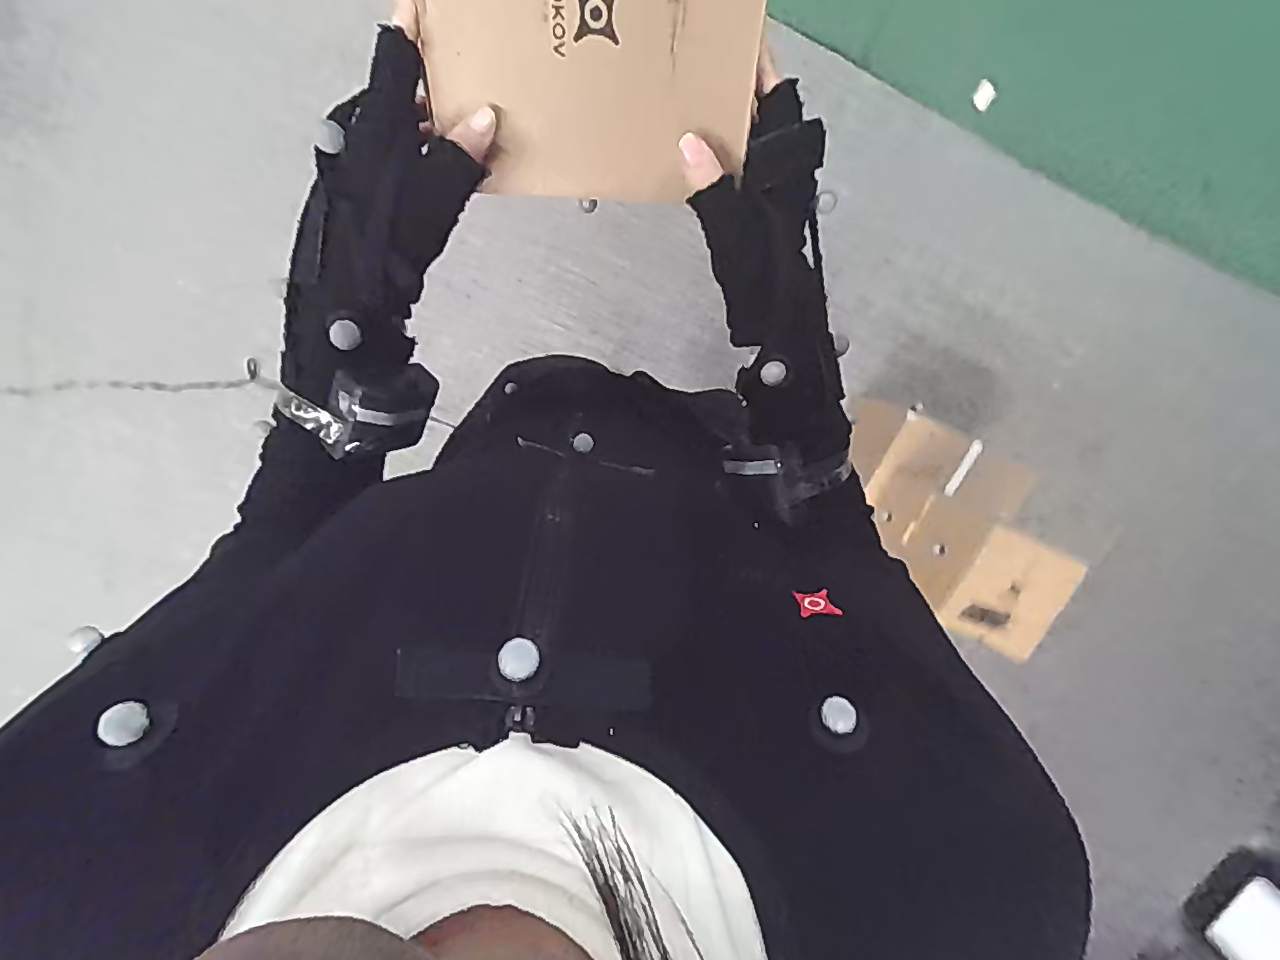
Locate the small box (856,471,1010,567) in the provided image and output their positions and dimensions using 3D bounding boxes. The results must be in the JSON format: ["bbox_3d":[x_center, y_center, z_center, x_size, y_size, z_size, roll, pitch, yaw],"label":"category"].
[{"bbox_3d":[0.559,0.095,1.062,0.179,0.176,0.168,21,104,-4],"label":"small box"}]

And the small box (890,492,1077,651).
[{"bbox_3d":[0.553,0.144,0.905,0.168,0.176,0.179,24,103,-6],"label":"small box"}]
